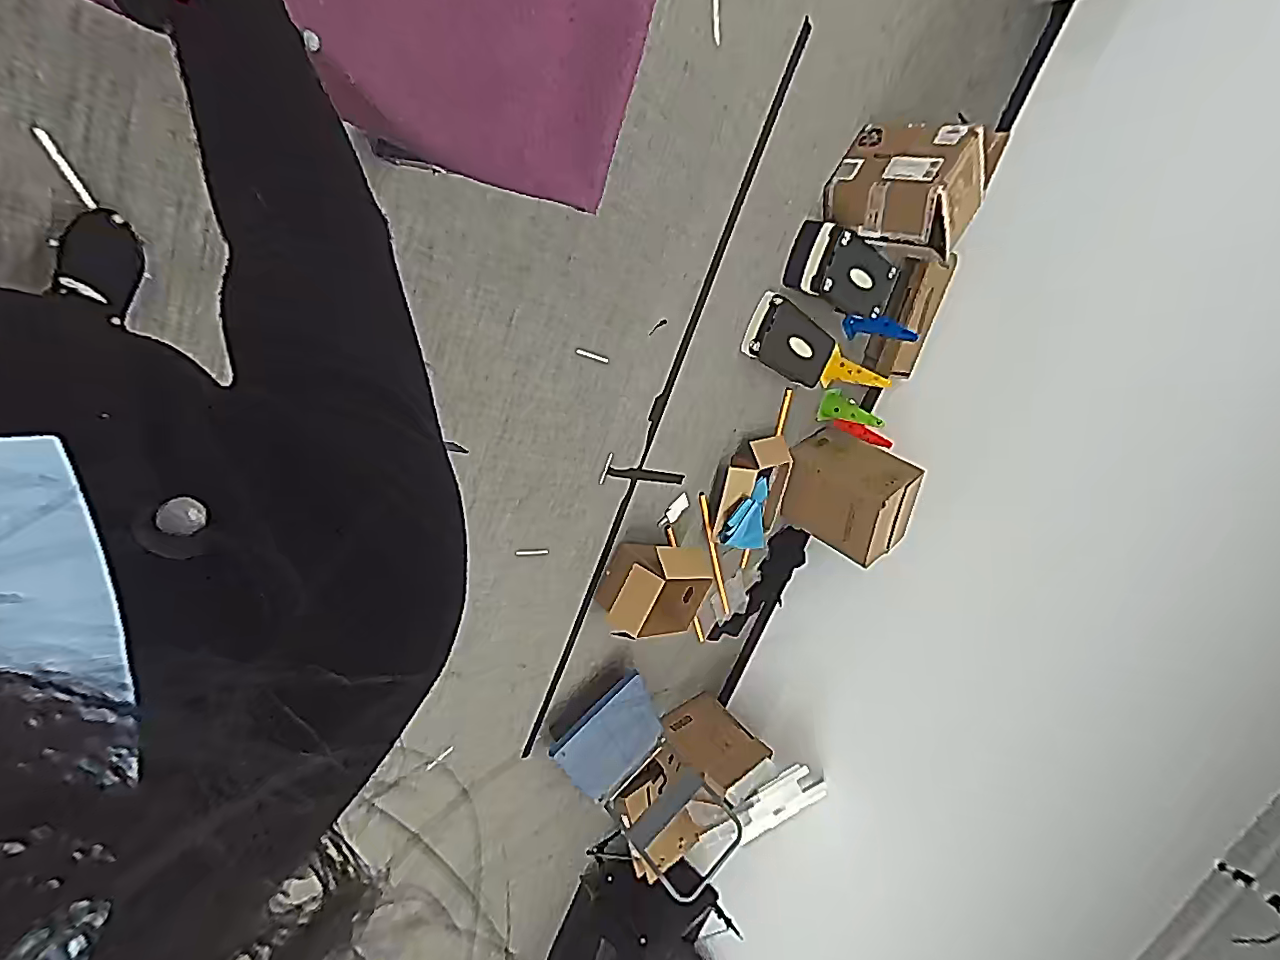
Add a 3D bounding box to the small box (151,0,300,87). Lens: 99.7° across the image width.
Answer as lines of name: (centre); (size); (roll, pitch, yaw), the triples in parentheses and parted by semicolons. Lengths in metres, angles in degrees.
small box: (-0.715, -0.816, 0.932); (0.168, 0.176, 0.179); (10, 107, -50)
